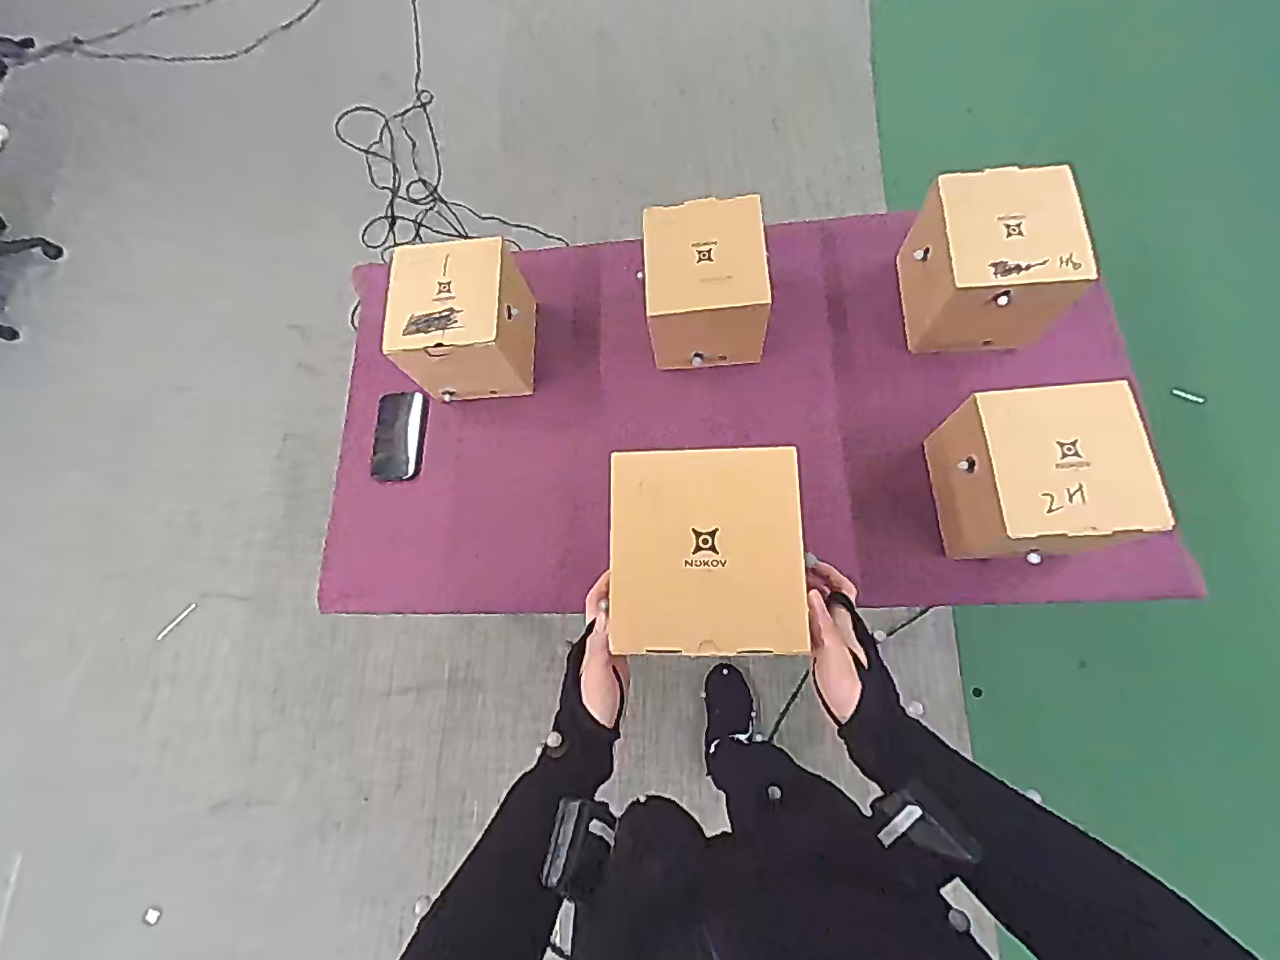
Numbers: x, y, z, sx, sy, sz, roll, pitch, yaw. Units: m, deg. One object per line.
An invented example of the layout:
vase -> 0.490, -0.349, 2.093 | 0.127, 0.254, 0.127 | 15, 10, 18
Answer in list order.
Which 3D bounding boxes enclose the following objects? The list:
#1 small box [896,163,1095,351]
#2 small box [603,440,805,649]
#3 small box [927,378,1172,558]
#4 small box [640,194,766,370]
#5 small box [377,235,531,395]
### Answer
small box -> 0.475, -0.301, 0.757 | 0.168, 0.176, 0.179 | -2, 73, 8
small box -> 0.058, 0.070, 0.531 | 0.168, 0.176, 0.179 | -1, 77, 6
small box -> 0.476, -0.005, 0.665 | 0.168, 0.176, 0.179 | -4, 74, 8
small box -> 0.090, -0.284, 0.802 | 0.168, 0.176, 0.179 | -4, 74, 7
small box -> -0.272, -0.240, 0.832 | 0.168, 0.176, 0.179 | -3, 73, 6
